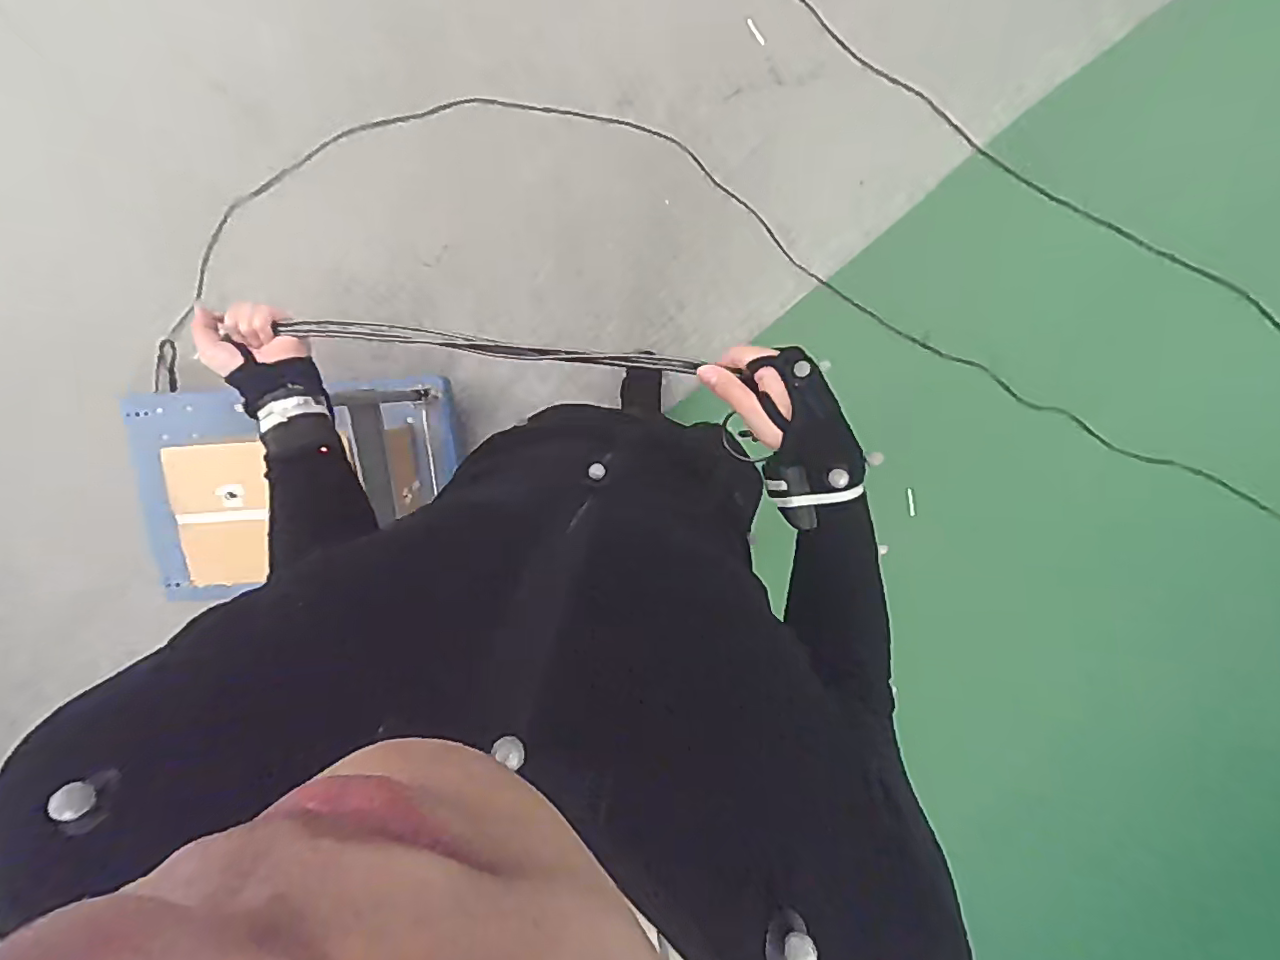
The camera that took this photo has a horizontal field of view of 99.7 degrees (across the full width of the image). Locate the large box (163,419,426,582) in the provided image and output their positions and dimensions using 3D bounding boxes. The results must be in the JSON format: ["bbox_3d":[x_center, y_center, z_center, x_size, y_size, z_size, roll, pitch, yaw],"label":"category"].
[{"bbox_3d":[-0.788,0.033,1.299,0.408,0.320,0.320,-3,100,2],"label":"large box"}]
